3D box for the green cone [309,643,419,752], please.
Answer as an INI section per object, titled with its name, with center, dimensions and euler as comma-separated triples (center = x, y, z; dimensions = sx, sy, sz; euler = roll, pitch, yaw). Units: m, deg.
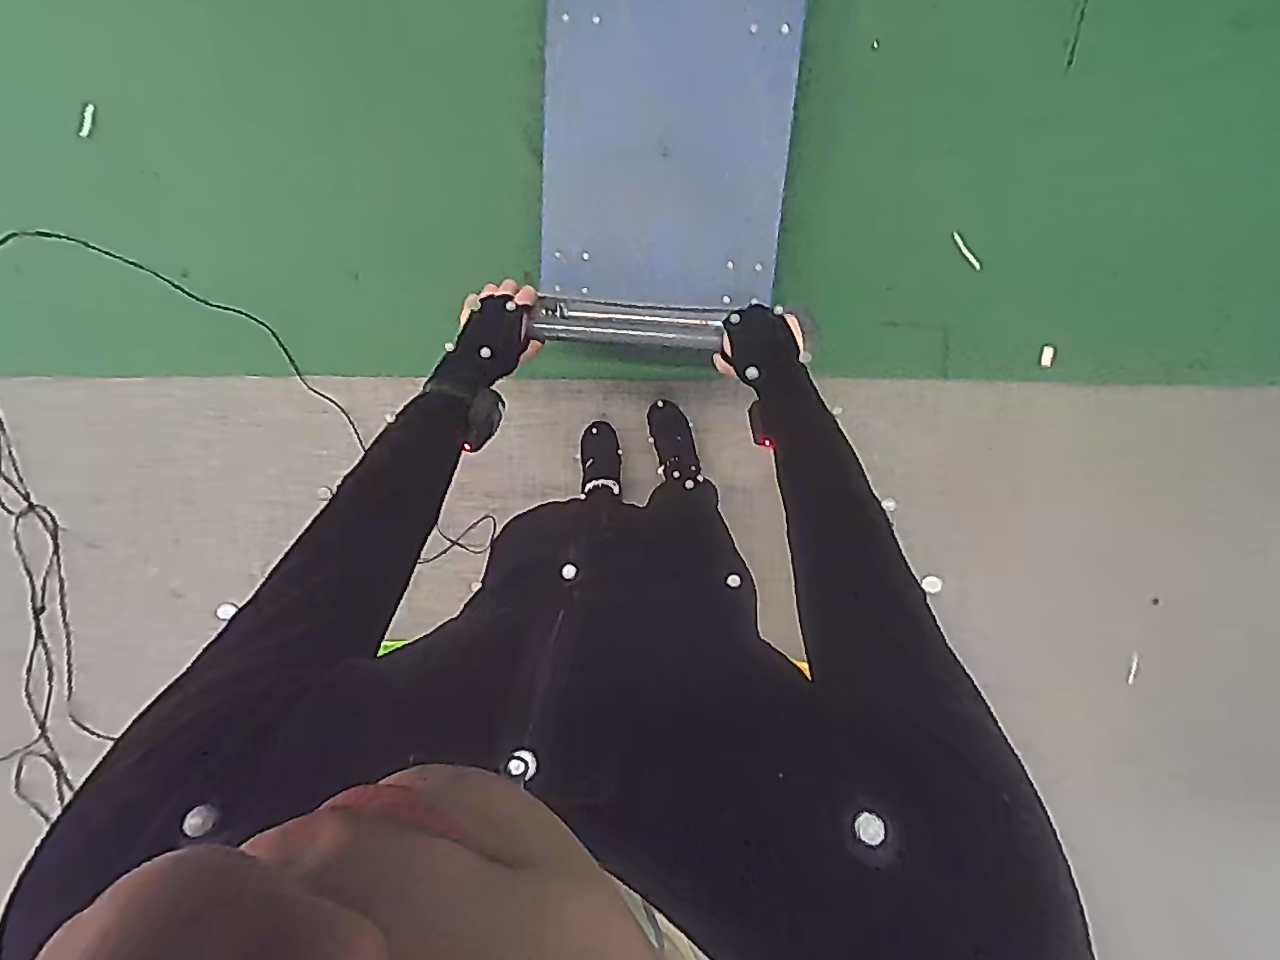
[green cone]
center = -0.849, 0.666, 1.617
dimensions = 0.202, 0.368, 0.200
euler = -2, 103, 5
